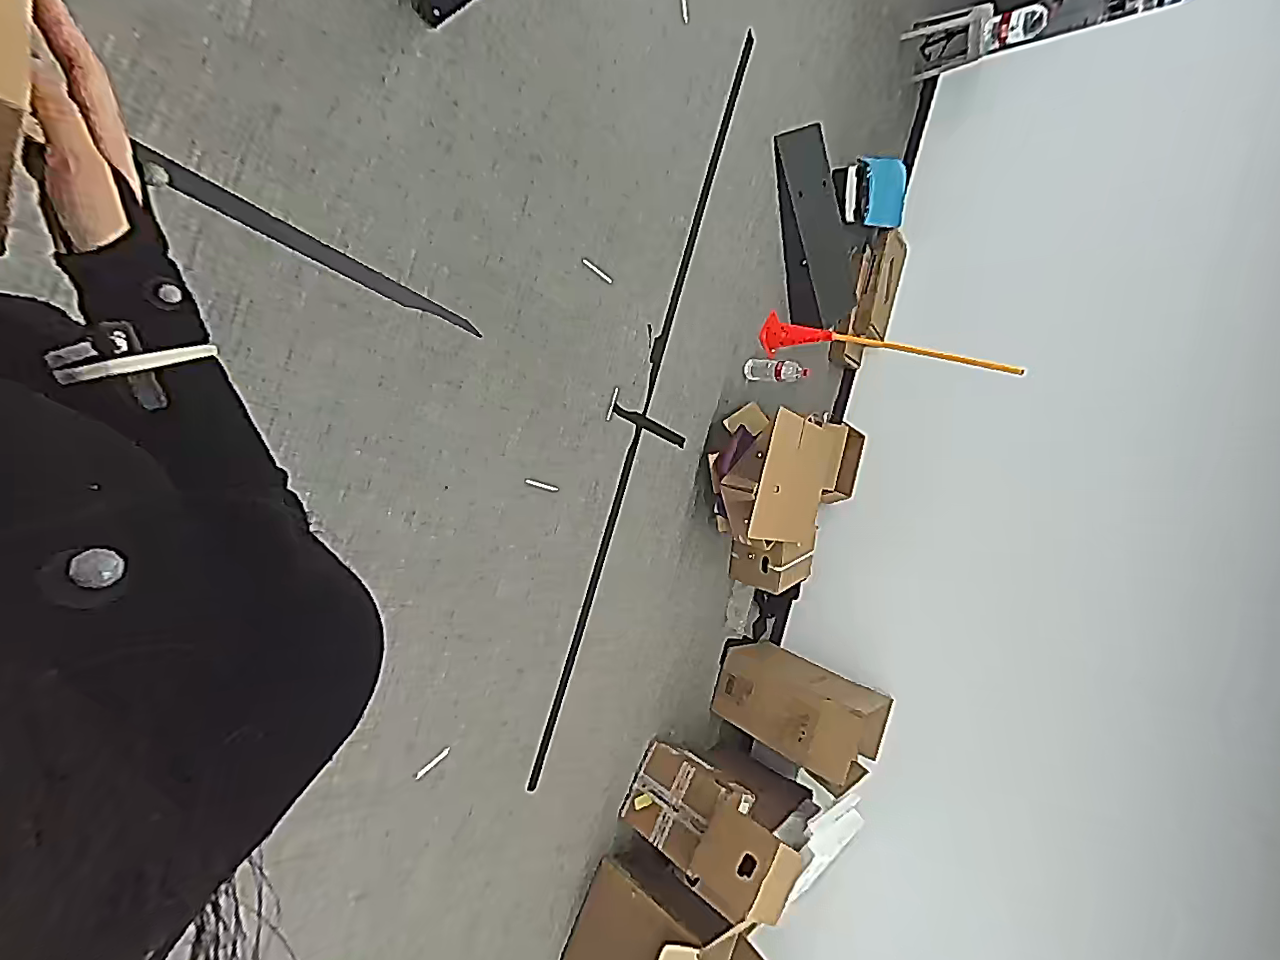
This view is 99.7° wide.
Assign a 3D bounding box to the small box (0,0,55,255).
[{"bbox_3d":[-0.398,-0.239,0.246,0.168,0.176,0.179,2,79,-52],"label":"small box"}]
